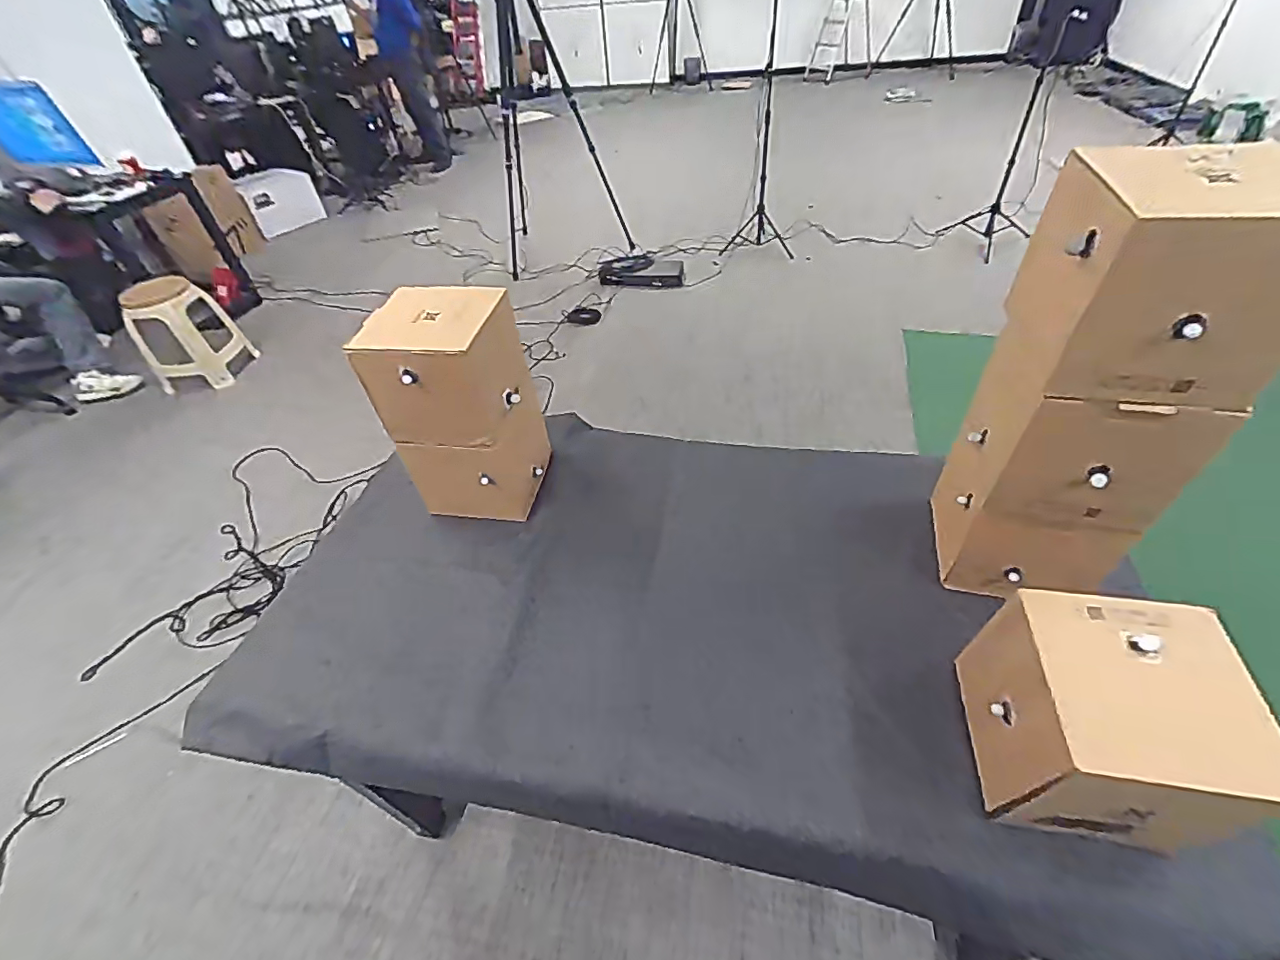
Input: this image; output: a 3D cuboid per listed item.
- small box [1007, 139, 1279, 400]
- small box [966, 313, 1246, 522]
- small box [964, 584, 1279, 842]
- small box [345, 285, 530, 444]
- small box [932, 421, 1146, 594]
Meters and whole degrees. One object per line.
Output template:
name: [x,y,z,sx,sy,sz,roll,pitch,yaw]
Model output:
small box: [0.473,-0.191,0.497,0.168,0.176,0.179,7,47,13]
small box: [0.494,-0.074,0.612,0.168,0.176,0.179,8,48,14]
small box: [0.441,0.224,0.525,0.168,0.179,0.176,4,48,10]
small box: [-0.281,-0.169,0.796,0.179,0.176,0.168,4,48,8]
small box: [0.512,0.037,0.731,0.168,0.176,0.179,7,47,14]
